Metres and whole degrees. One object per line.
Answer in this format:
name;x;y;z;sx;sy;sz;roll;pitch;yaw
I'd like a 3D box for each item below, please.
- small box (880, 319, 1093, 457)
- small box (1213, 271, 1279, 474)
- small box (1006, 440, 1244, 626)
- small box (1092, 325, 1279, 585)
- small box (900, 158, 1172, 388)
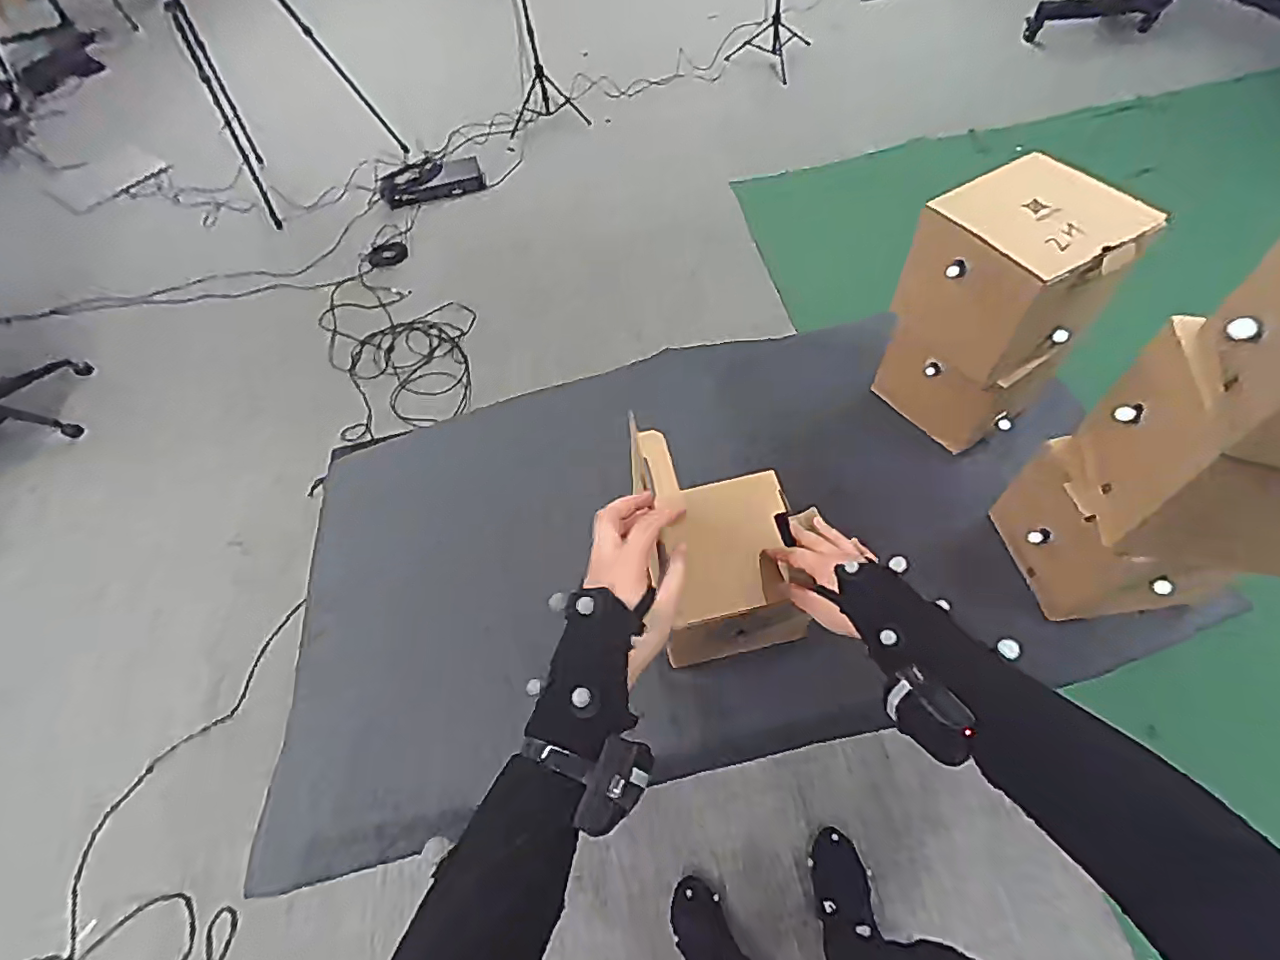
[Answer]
small box;0.493;-0.167;0.804;0.168;0.176;0.179;-33;62;-10
small box;0.547;-0.093;0.354;0.179;0.176;0.168;18;59;20
small box;0.578;0.061;0.644;0.179;0.176;0.168;-9;54;3
small box;0.564;-0.019;0.502;0.179;0.176;0.168;10;57;14
small box;0.456;-0.248;0.664;0.168;0.176;0.179;-27;60;-6
